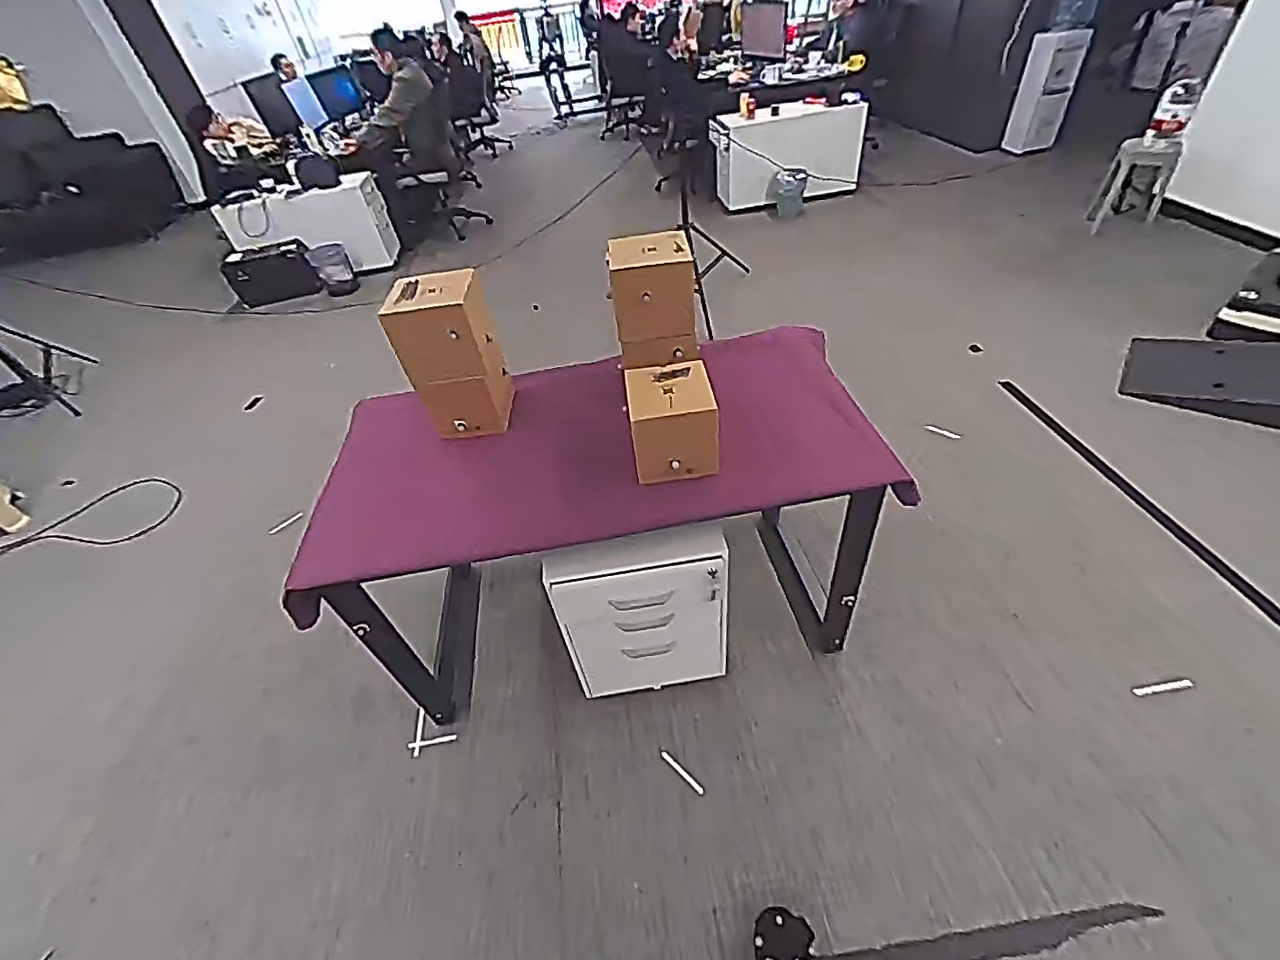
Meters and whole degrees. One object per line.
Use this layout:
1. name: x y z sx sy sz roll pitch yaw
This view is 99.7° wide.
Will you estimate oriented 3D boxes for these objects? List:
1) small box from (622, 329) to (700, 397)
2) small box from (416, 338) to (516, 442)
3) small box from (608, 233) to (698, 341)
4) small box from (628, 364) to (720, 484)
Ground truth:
1. small box: 0.049 -0.308 1.319 0.179 0.176 0.168 -8 44 2
2. small box: -0.406 -0.215 1.297 0.168 0.176 0.179 -7 46 4
3. small box: 0.029 -0.426 1.206 0.179 0.176 0.168 -7 45 3
4. small box: 0.068 -0.115 1.112 0.168 0.176 0.179 -8 43 1
